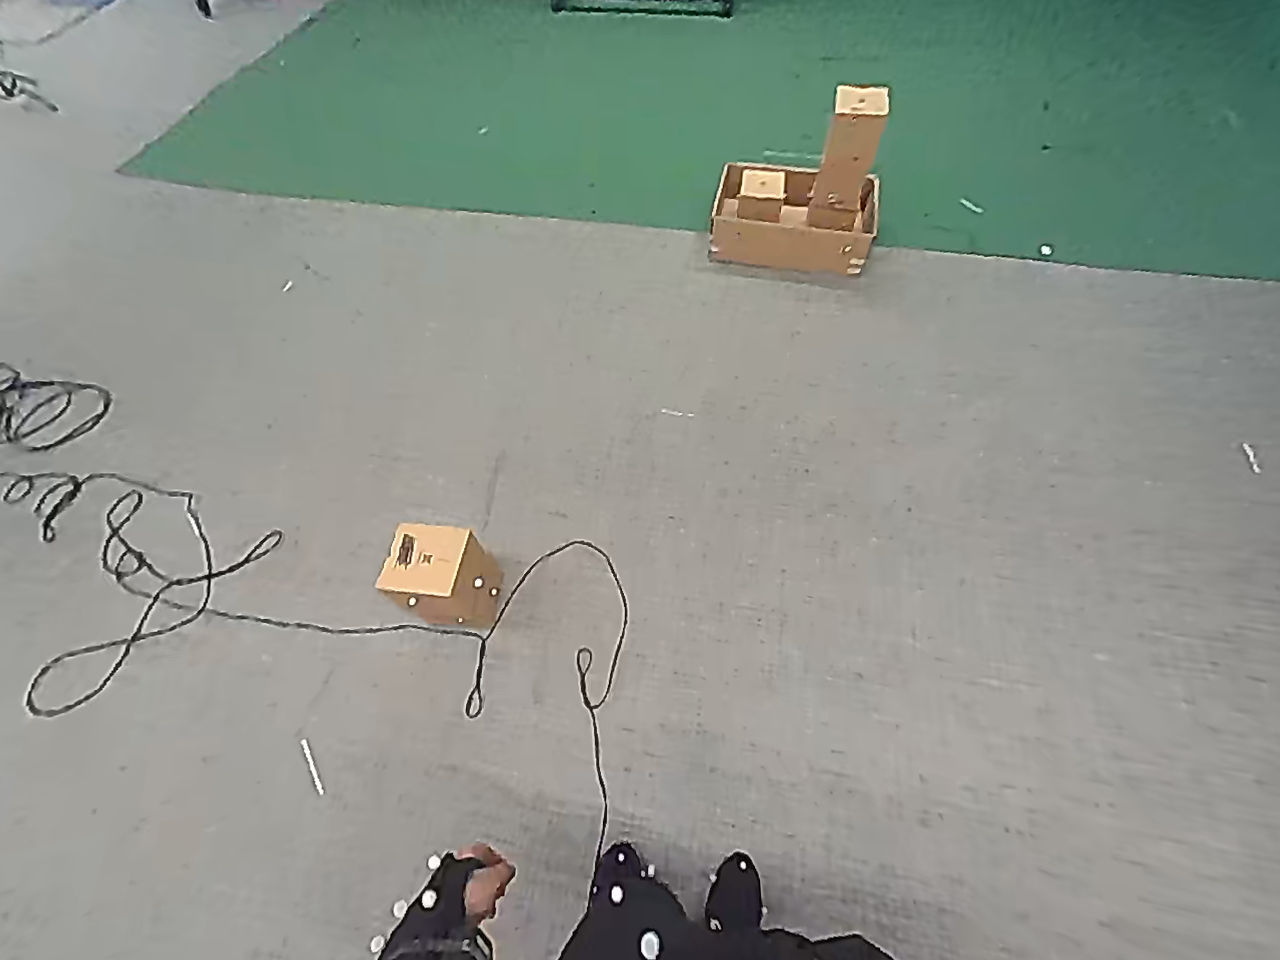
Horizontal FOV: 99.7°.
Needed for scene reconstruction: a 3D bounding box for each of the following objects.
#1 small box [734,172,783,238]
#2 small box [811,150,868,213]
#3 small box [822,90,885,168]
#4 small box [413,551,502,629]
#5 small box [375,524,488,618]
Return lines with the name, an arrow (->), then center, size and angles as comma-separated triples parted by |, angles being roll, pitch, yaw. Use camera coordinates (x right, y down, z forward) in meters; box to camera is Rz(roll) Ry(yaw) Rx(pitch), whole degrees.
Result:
small box -> 0.481, -1.119, 2.203 | 0.168, 0.176, 0.179 | 7, 60, 5
small box -> 0.741, -1.127, 2.006 | 0.168, 0.176, 0.179 | 11, 62, 10
small box -> 0.733, -1.210, 1.865 | 0.168, 0.176, 0.179 | 9, 59, 9
small box -> -0.482, 0.292, 1.440 | 0.179, 0.176, 0.168 | 1, 58, 4
small box -> -0.487, 0.222, 1.292 | 0.179, 0.176, 0.168 | 5, 59, 5
